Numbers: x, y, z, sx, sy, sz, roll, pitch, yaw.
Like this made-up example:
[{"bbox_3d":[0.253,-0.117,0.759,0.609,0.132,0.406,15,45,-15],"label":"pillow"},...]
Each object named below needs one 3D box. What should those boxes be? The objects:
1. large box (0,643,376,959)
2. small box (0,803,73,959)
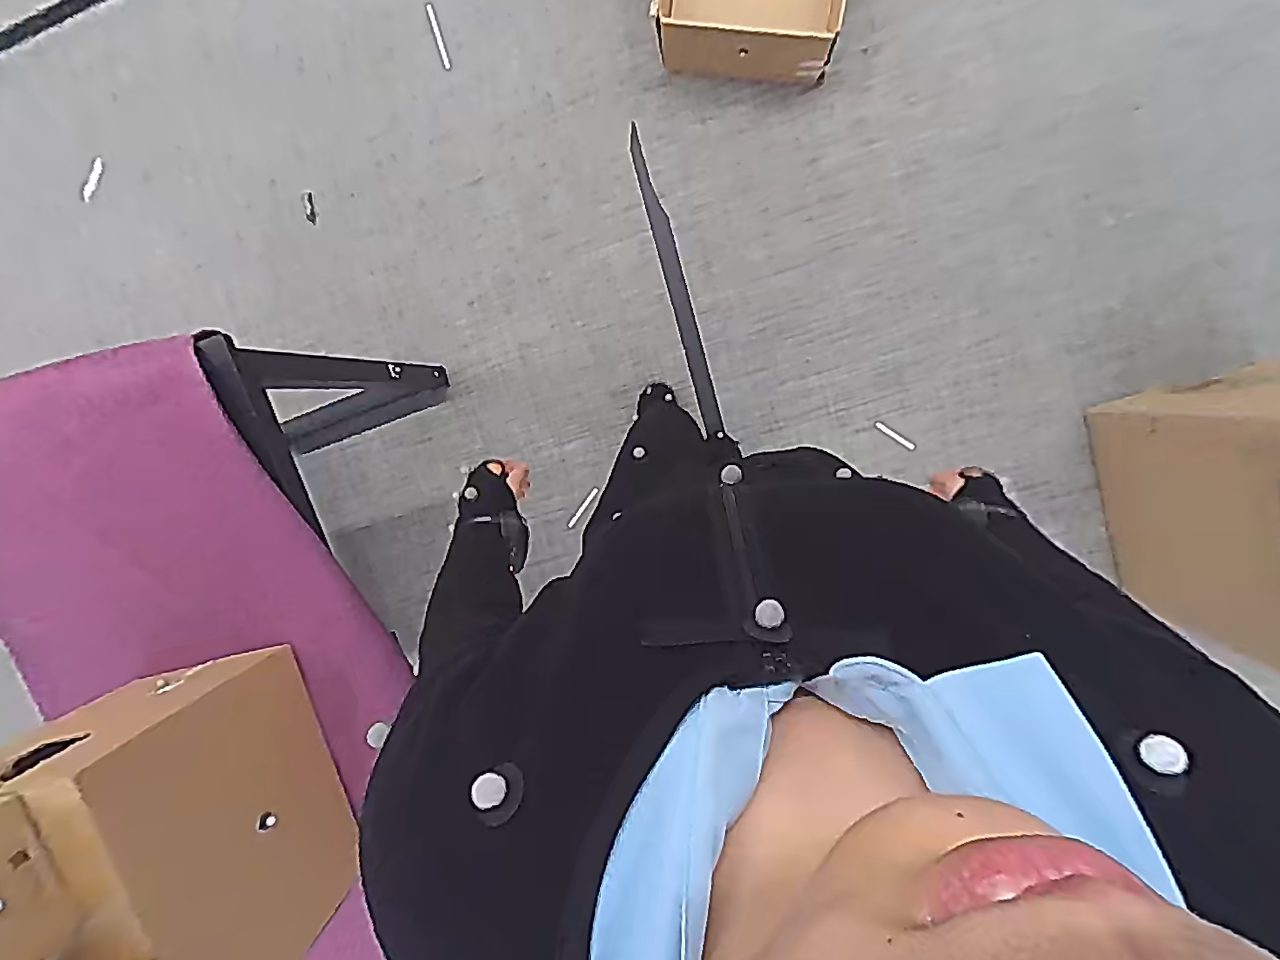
[{"bbox_3d":[-0.651,0.505,0.755,0.320,0.320,0.408,-15,98,10],"label":"large box"},{"bbox_3d":[-0.708,0.438,0.499,0.179,0.176,0.168,-15,99,9],"label":"small box"}]
